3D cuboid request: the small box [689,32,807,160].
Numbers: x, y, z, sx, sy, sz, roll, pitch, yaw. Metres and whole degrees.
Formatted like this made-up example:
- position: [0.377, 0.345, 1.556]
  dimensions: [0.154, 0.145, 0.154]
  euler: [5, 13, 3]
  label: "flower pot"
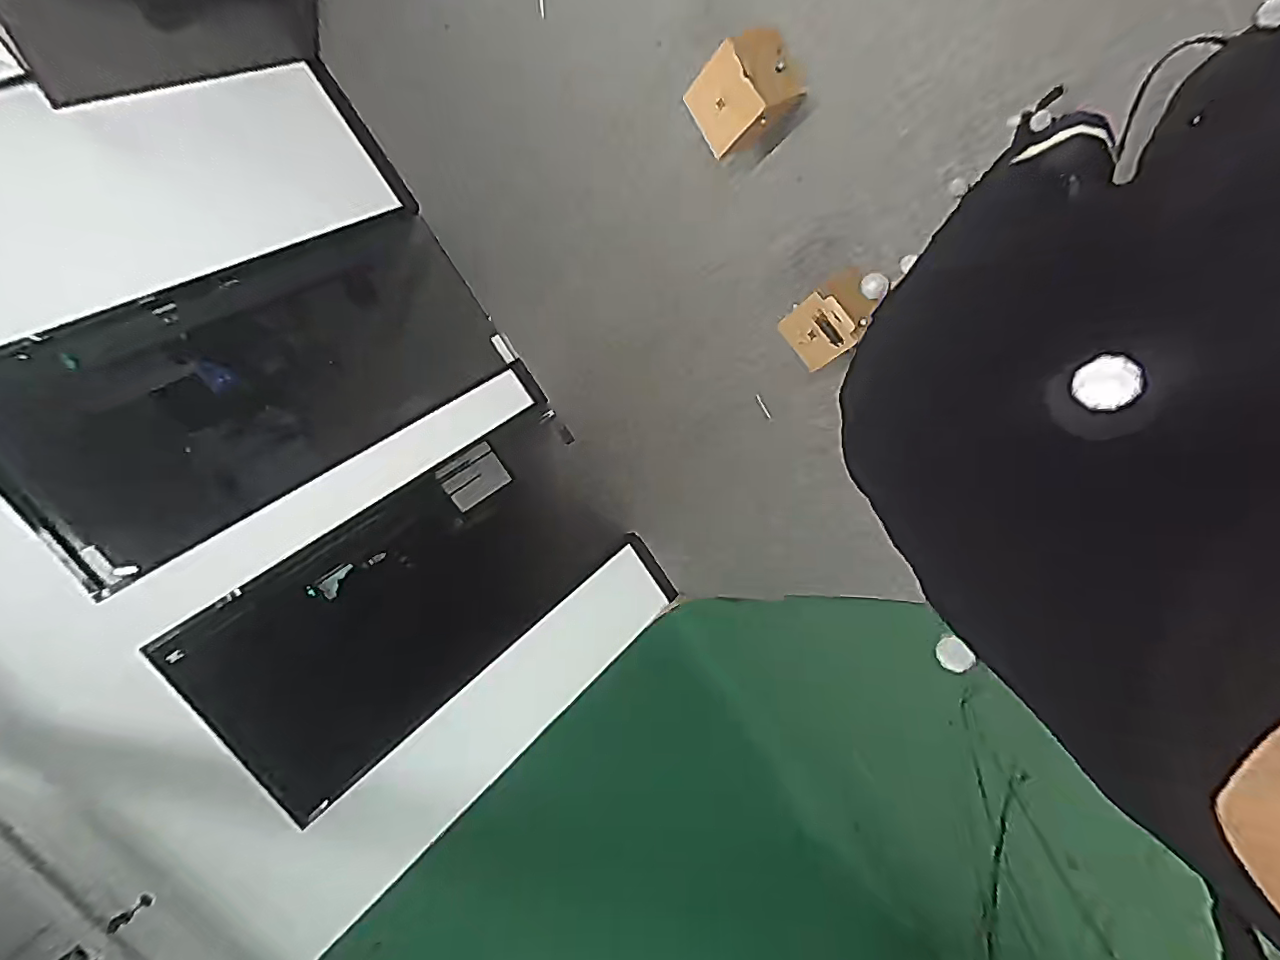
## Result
- position: [0.254, -0.900, 1.271]
  dimensions: [0.168, 0.176, 0.179]
  euler: [57, 150, -9]
  label: "small box"
